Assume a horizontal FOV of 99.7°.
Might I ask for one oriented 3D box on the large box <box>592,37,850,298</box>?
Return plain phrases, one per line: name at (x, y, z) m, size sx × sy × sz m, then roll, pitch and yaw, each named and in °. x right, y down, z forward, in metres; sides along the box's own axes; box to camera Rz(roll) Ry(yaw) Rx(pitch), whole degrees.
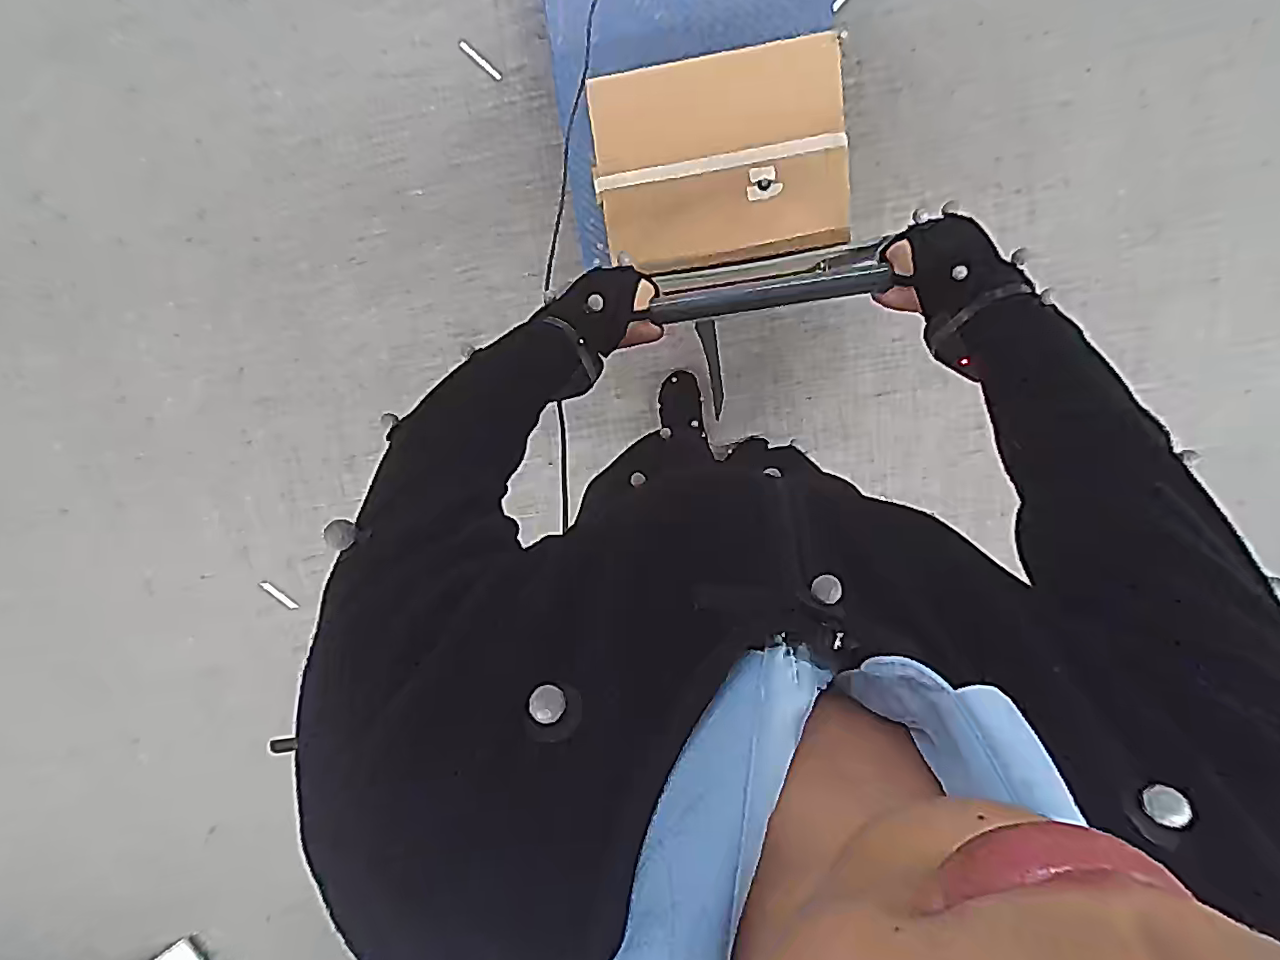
large box at (0.145, -0.560, 1.050) m, size 0.408 × 0.320 × 0.320 m, roll -8°, pitch 103°, yaw 5°
